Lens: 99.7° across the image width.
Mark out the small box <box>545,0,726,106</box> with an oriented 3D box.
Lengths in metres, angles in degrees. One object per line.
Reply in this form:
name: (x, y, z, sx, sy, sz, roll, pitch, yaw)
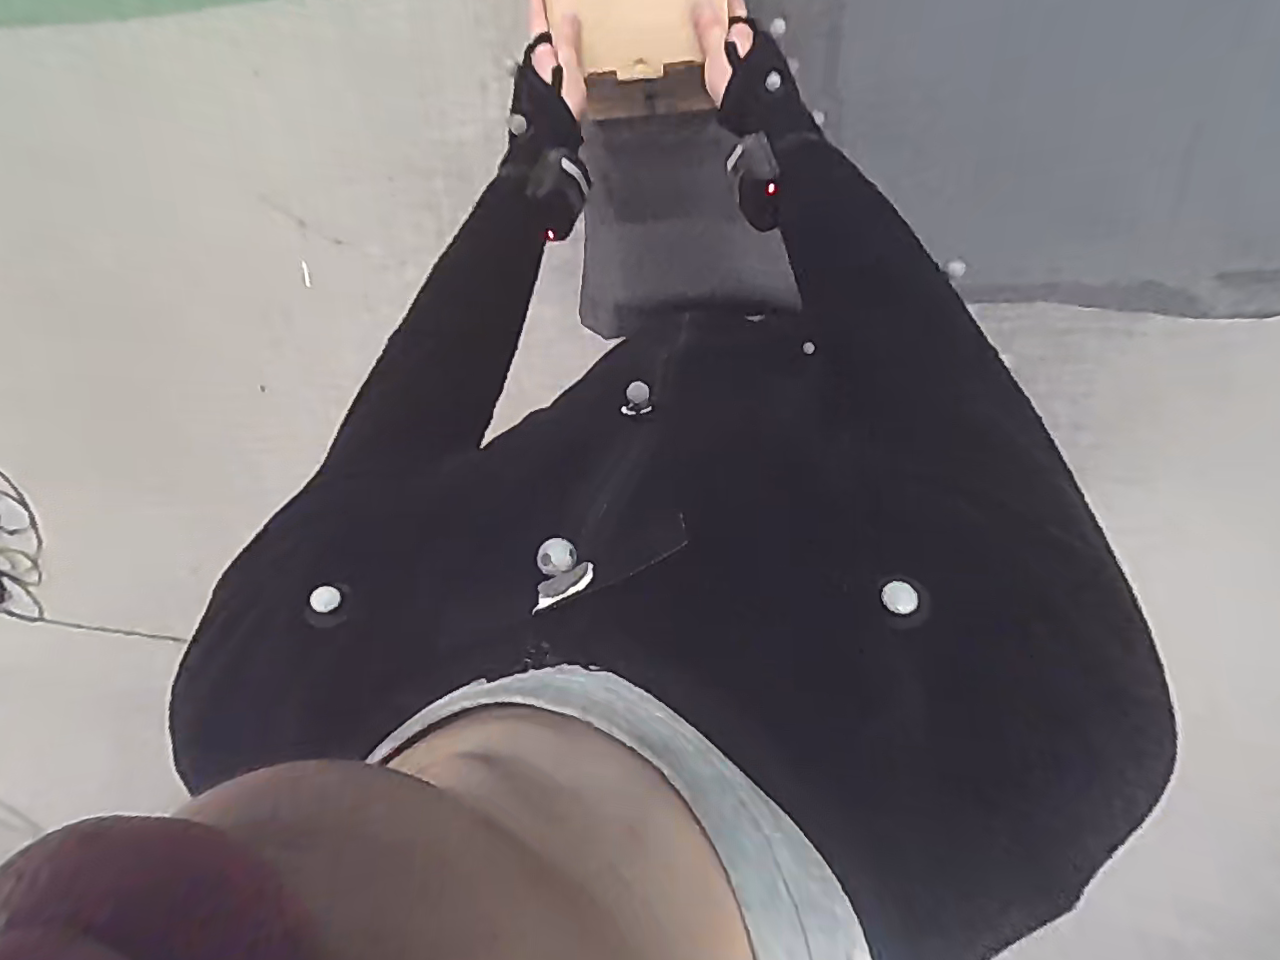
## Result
small box: (0.002, -0.493, 0.539, 0.168, 0.176, 0.179, -1, 113, 7)
